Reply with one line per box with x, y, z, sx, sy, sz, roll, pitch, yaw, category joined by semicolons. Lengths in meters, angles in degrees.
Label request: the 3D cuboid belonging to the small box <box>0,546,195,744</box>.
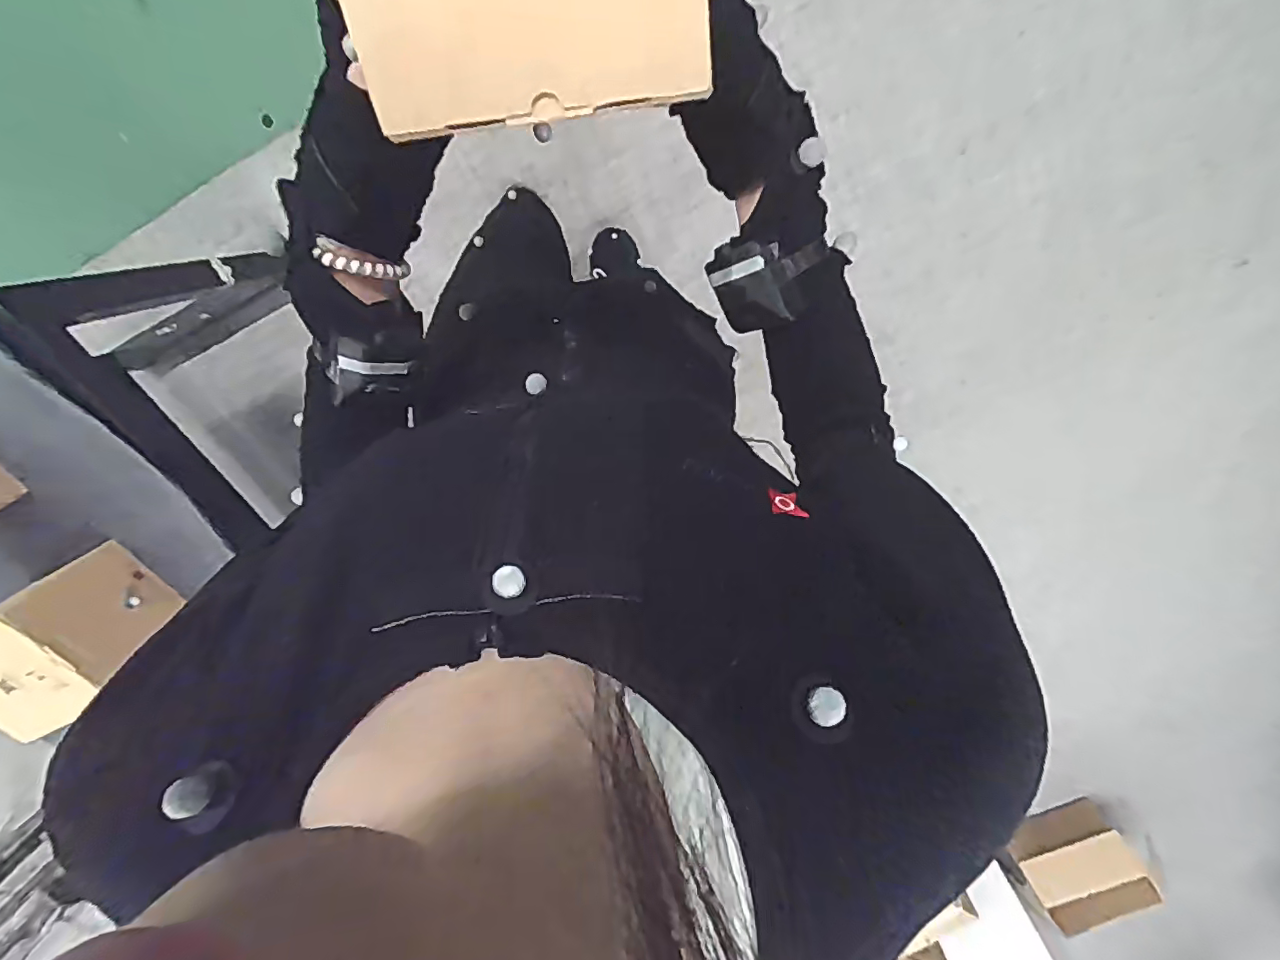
-0.794;0.224;0.756;0.179;0.176;0.168;-25;116;10;small box

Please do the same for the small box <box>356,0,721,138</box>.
-0.057;-0.296;0.286;0.168;0.176;0.179;-9;126;0;small box
